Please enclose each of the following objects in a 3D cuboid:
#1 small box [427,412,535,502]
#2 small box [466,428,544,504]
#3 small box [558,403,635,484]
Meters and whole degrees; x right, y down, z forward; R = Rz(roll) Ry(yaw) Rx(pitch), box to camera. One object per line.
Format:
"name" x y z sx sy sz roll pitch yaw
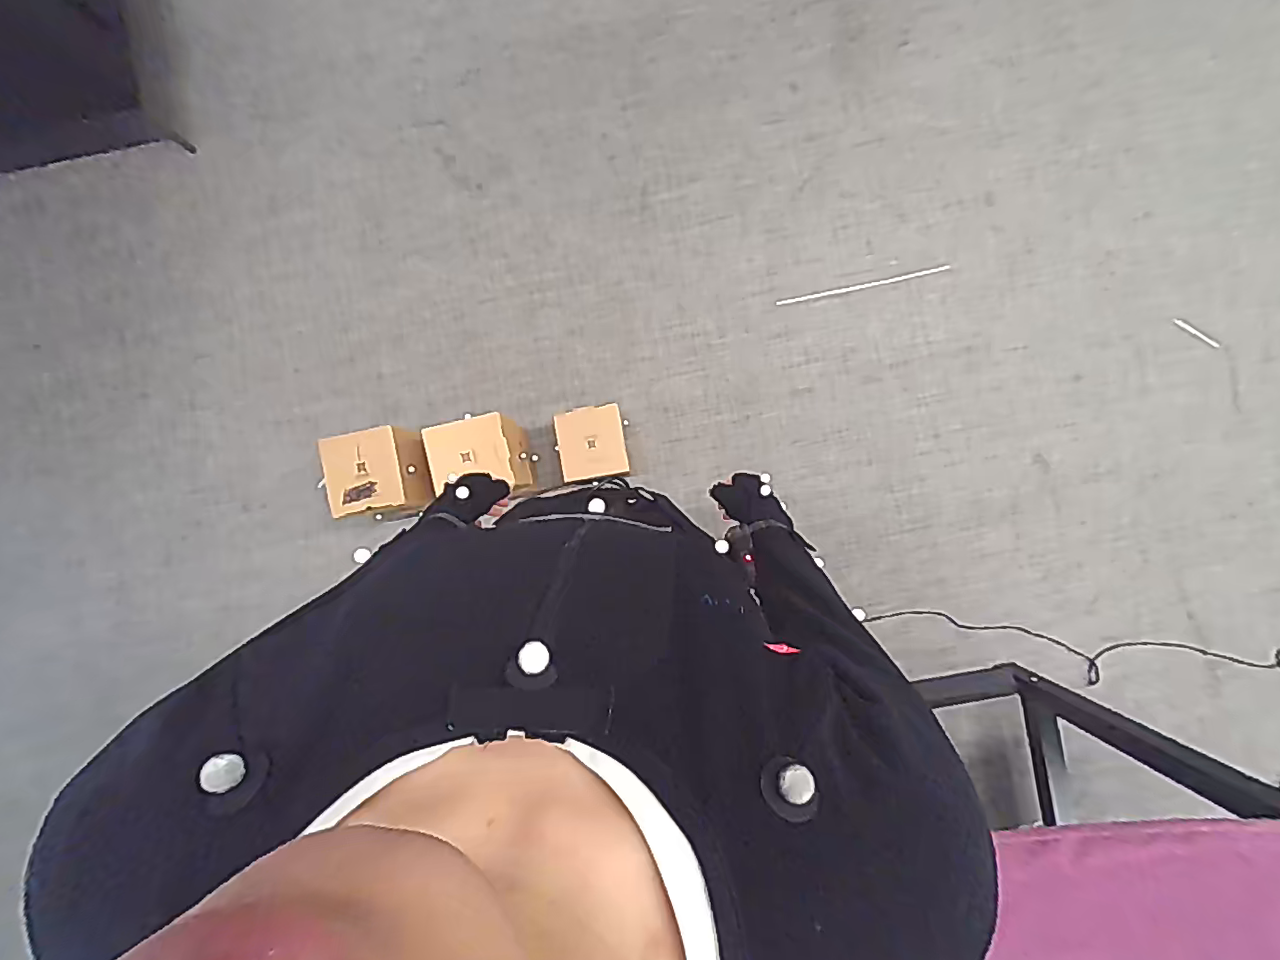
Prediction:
"small box" -0.359 -0.046 1.244 0.179 0.176 0.168 -14 89 0
"small box" -0.360 -0.036 1.406 0.168 0.176 0.179 -13 88 2
"small box" -0.108 -0.089 1.406 0.168 0.176 0.179 -10 89 1
